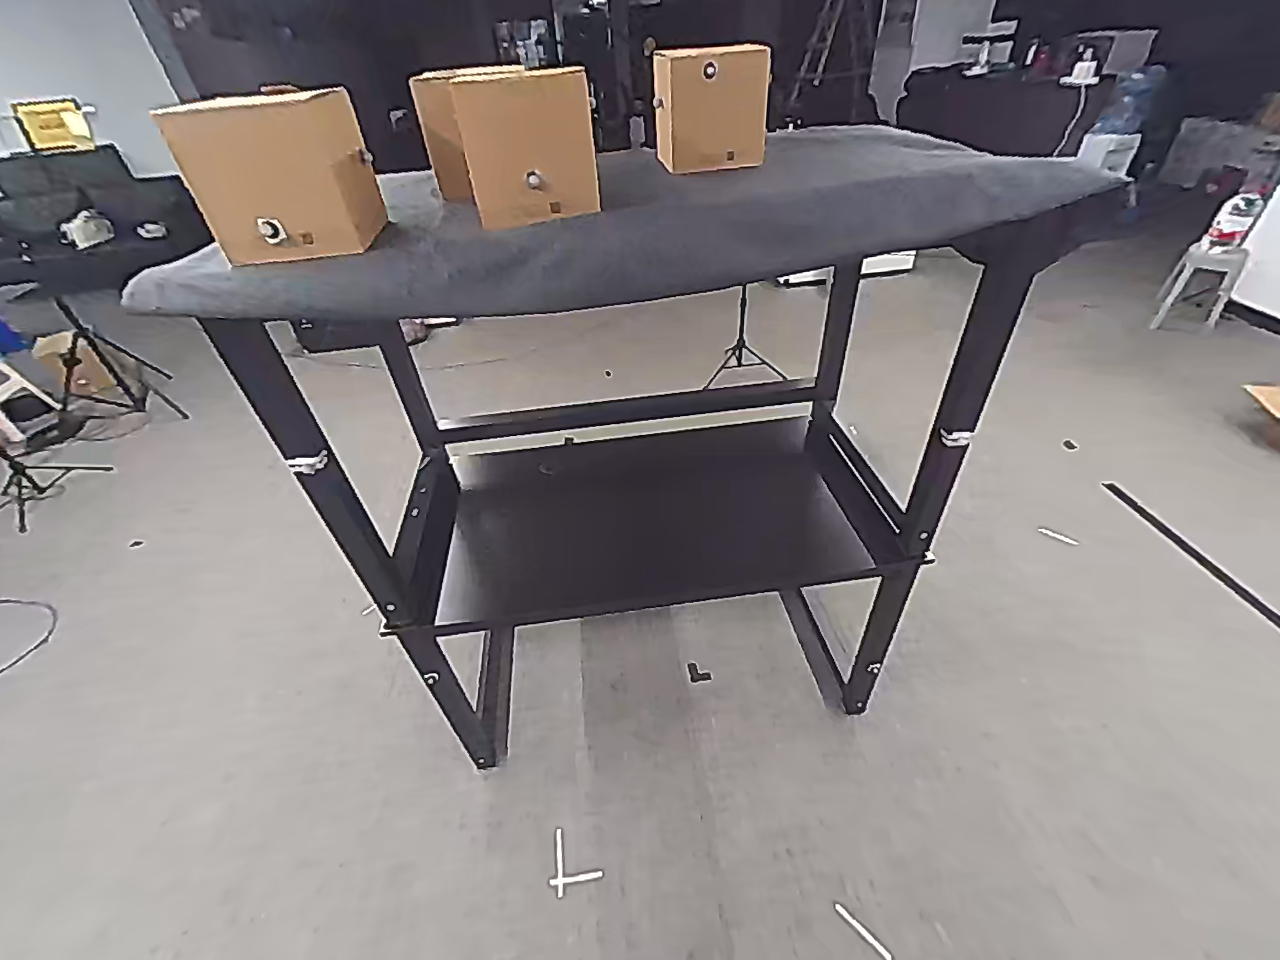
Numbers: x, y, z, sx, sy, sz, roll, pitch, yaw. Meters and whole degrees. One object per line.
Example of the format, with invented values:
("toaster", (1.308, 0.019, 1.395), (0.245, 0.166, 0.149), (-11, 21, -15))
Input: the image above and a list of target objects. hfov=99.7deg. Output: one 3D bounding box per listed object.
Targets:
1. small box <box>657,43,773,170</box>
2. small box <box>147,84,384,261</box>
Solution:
("small box", (0.124, -0.659, 0.957), (0.168, 0.176, 0.179), (-8, 39, -3))
("small box", (-0.447, -0.392, 0.688), (0.168, 0.176, 0.179), (-9, 39, -5))
